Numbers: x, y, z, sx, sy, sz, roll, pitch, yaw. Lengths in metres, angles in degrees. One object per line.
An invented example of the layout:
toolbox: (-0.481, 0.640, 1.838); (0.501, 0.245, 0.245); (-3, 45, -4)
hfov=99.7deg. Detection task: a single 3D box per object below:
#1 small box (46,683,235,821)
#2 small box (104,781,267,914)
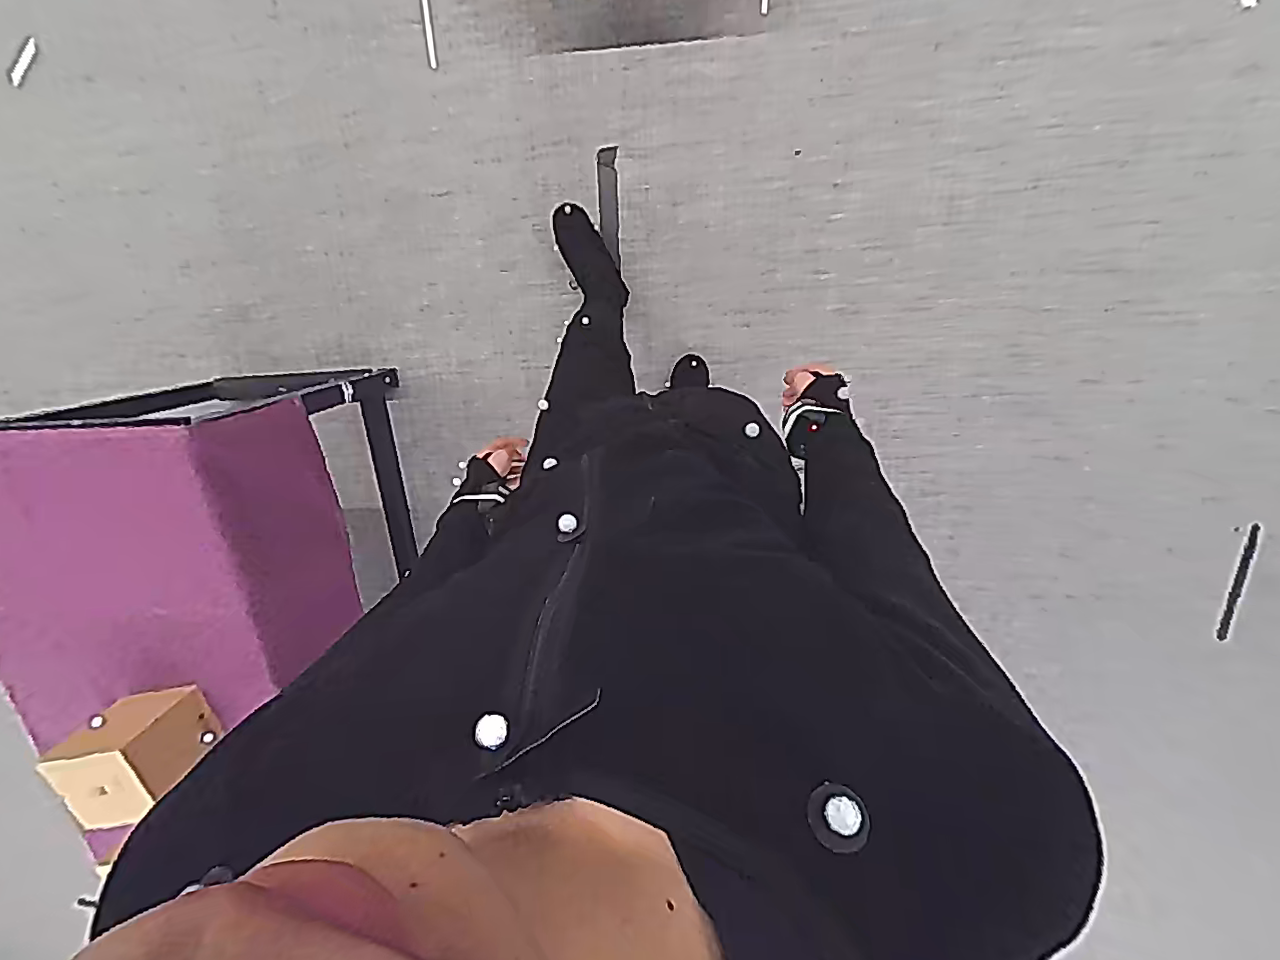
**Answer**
small box: (-0.950, 0.520, 1.046); (0.179, 0.176, 0.168); (-11, 109, 8)
small box: (-0.926, 0.758, 1.128); (0.179, 0.176, 0.168); (-10, 108, 8)
